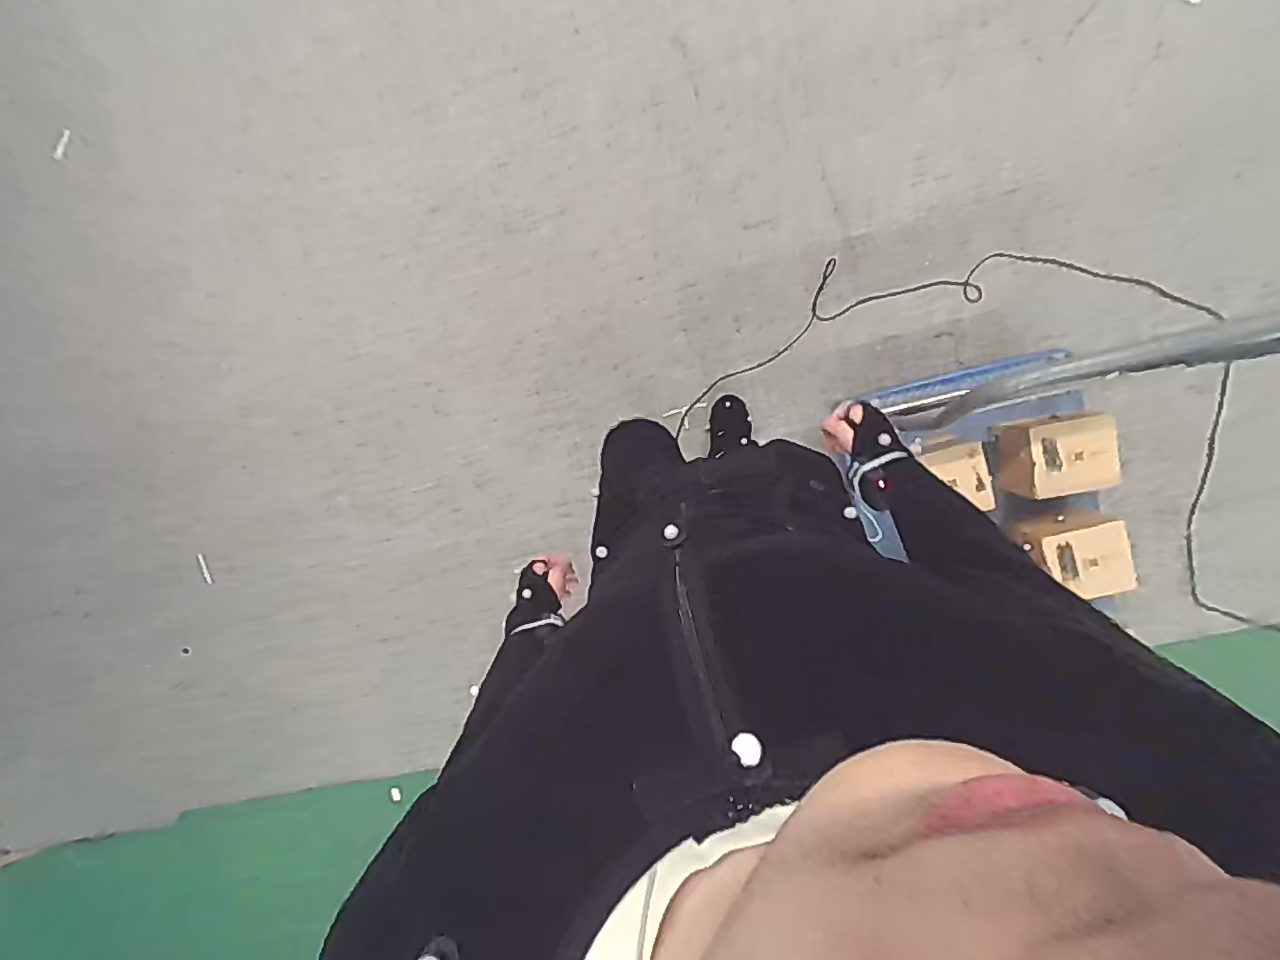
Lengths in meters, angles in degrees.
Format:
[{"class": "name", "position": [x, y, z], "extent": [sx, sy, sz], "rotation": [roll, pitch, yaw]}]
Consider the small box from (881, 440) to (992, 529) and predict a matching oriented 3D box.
[{"class": "small box", "position": [0.699, 0.007, 1.299], "extent": [0.179, 0.176, 0.168], "rotation": [-15, 96, 9]}]

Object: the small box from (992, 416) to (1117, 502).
[{"class": "small box", "position": [0.953, -0.052, 1.262], "extent": [0.179, 0.176, 0.168], "rotation": [-11, 97, 7]}]
